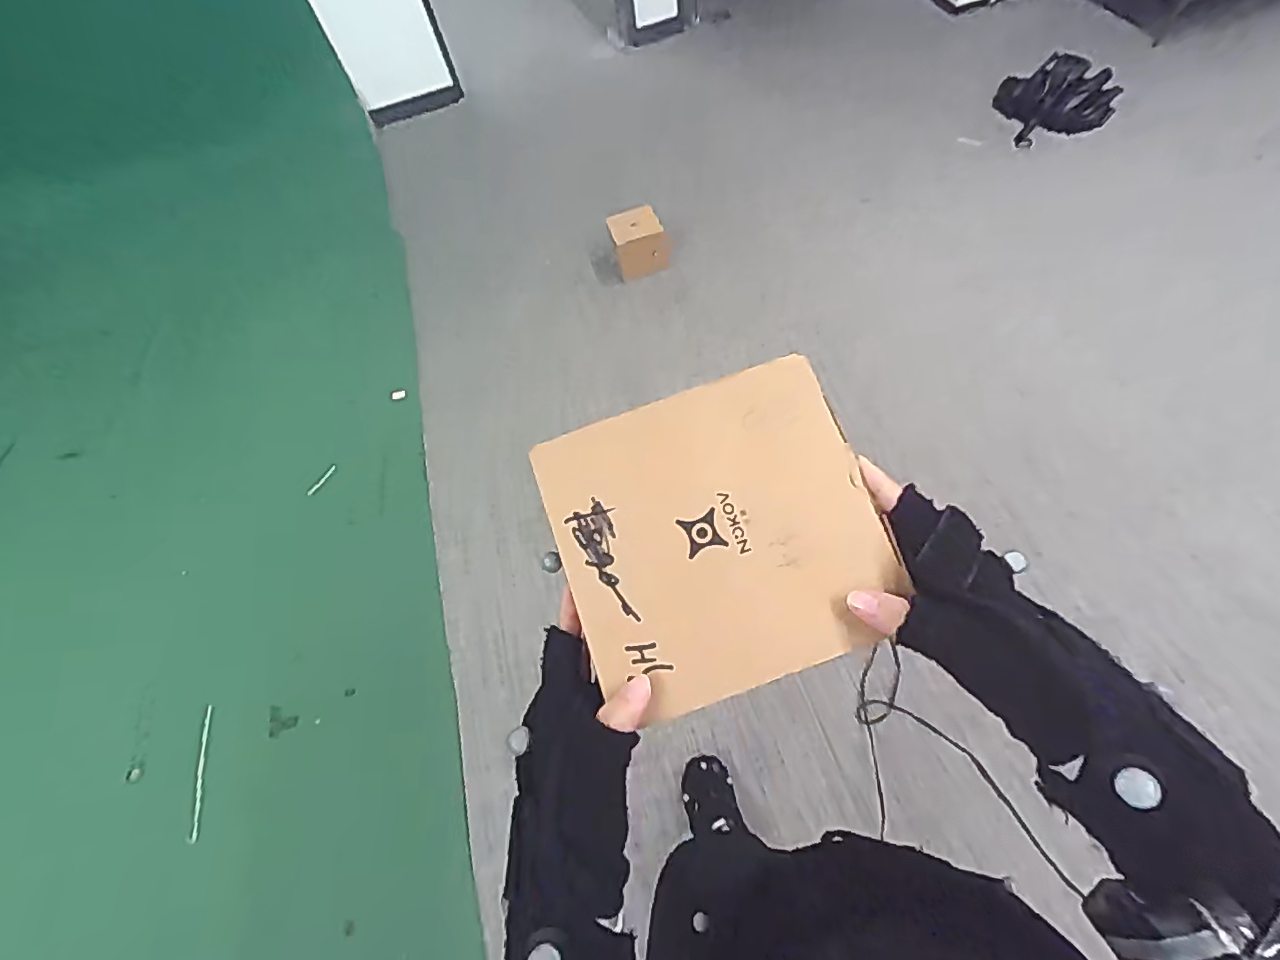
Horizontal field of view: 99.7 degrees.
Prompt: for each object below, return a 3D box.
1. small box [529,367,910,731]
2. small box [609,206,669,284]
[{"bbox_3d":[0.042,0.050,0.381,0.179,0.176,0.168,-19,75,-2],"label":"small box"},{"bbox_3d":[0.002,-0.855,1.976,0.179,0.176,0.168,-20,60,-1],"label":"small box"}]
